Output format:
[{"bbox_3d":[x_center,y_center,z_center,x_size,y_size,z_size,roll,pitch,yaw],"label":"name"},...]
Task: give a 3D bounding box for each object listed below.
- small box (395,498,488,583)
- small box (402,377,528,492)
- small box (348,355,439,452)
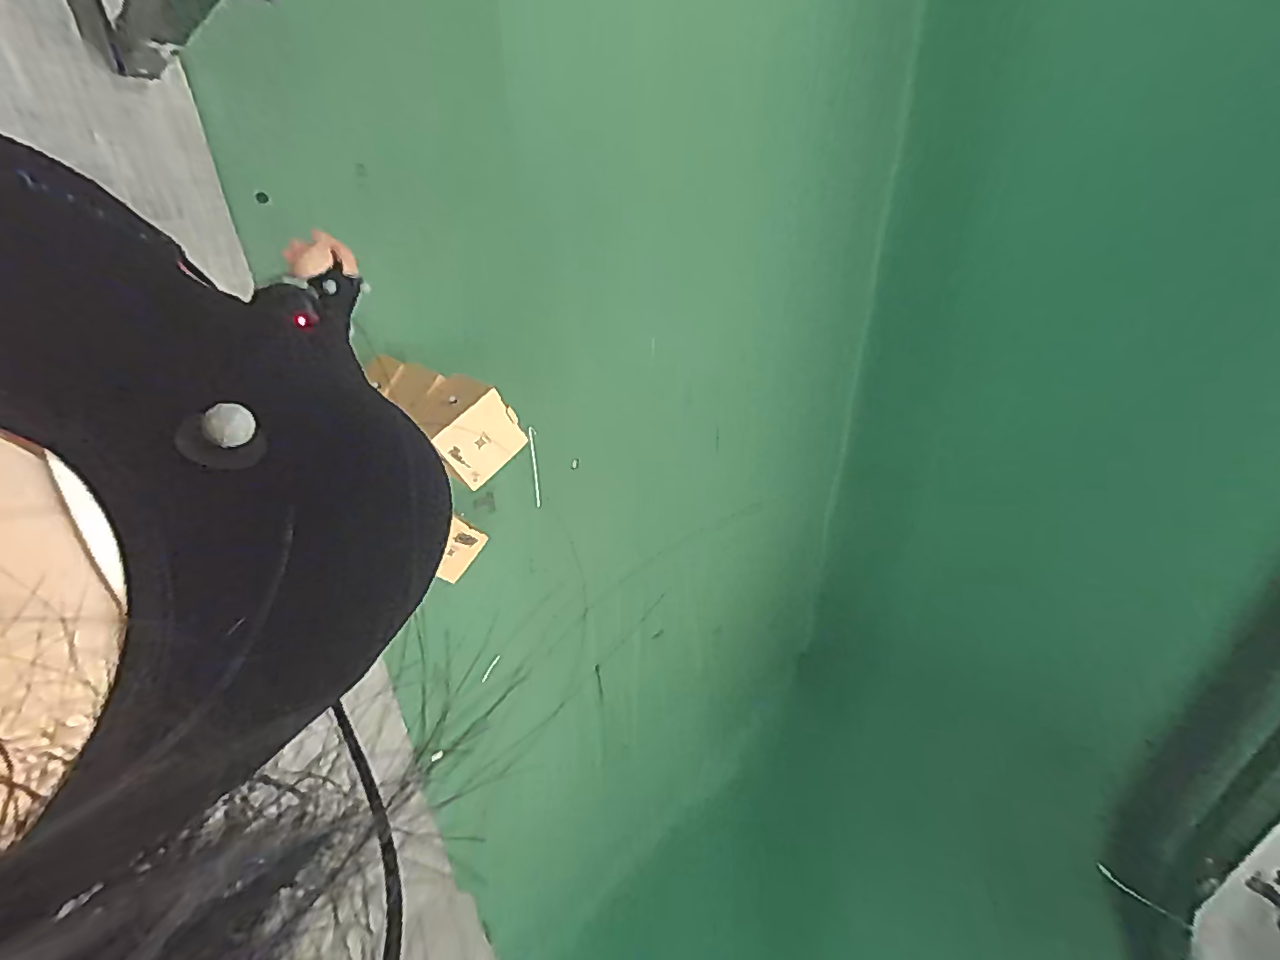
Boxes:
[{"bbox_3d":[-0.608,0.179,1.646,0.179,0.176,0.168,-55,139,-10],"label":"small box"},{"bbox_3d":[-0.394,-0.109,1.217,0.179,0.176,0.168,-47,137,-20],"label":"small box"},{"bbox_3d":[-0.635,-0.204,1.420,0.168,0.176,0.179,37,81,-50],"label":"small box"}]
